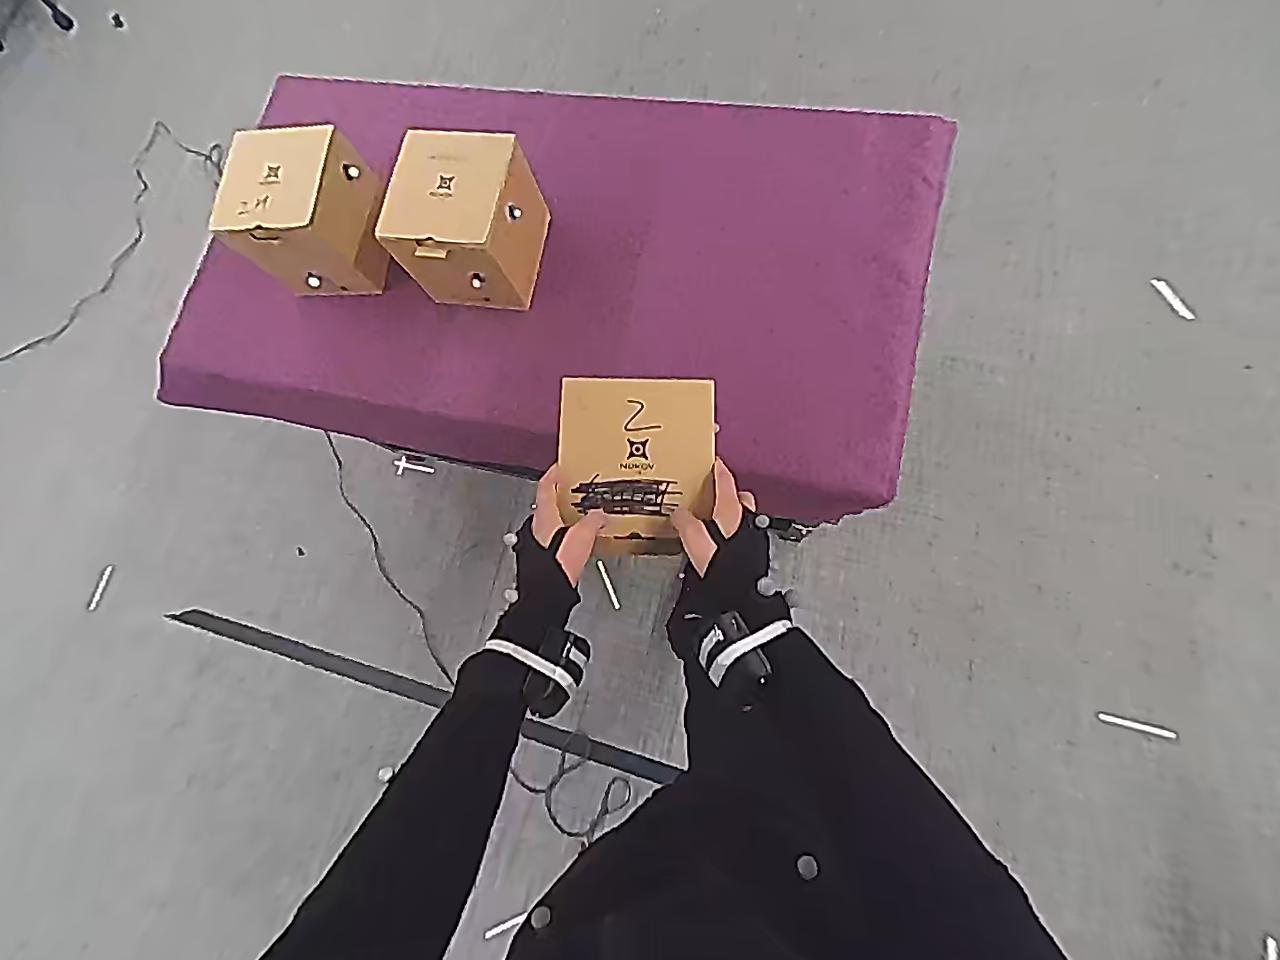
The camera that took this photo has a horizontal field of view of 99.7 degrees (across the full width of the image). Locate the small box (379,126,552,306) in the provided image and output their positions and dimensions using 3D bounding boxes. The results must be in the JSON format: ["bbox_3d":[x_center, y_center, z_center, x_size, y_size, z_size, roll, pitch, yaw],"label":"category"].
[{"bbox_3d":[-0.244,-0.380,0.802,0.168,0.176,0.179,10,79,10],"label":"small box"}]

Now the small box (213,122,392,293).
[{"bbox_3d":[-0.507,-0.418,0.849,0.168,0.176,0.179,2,78,10],"label":"small box"}]
